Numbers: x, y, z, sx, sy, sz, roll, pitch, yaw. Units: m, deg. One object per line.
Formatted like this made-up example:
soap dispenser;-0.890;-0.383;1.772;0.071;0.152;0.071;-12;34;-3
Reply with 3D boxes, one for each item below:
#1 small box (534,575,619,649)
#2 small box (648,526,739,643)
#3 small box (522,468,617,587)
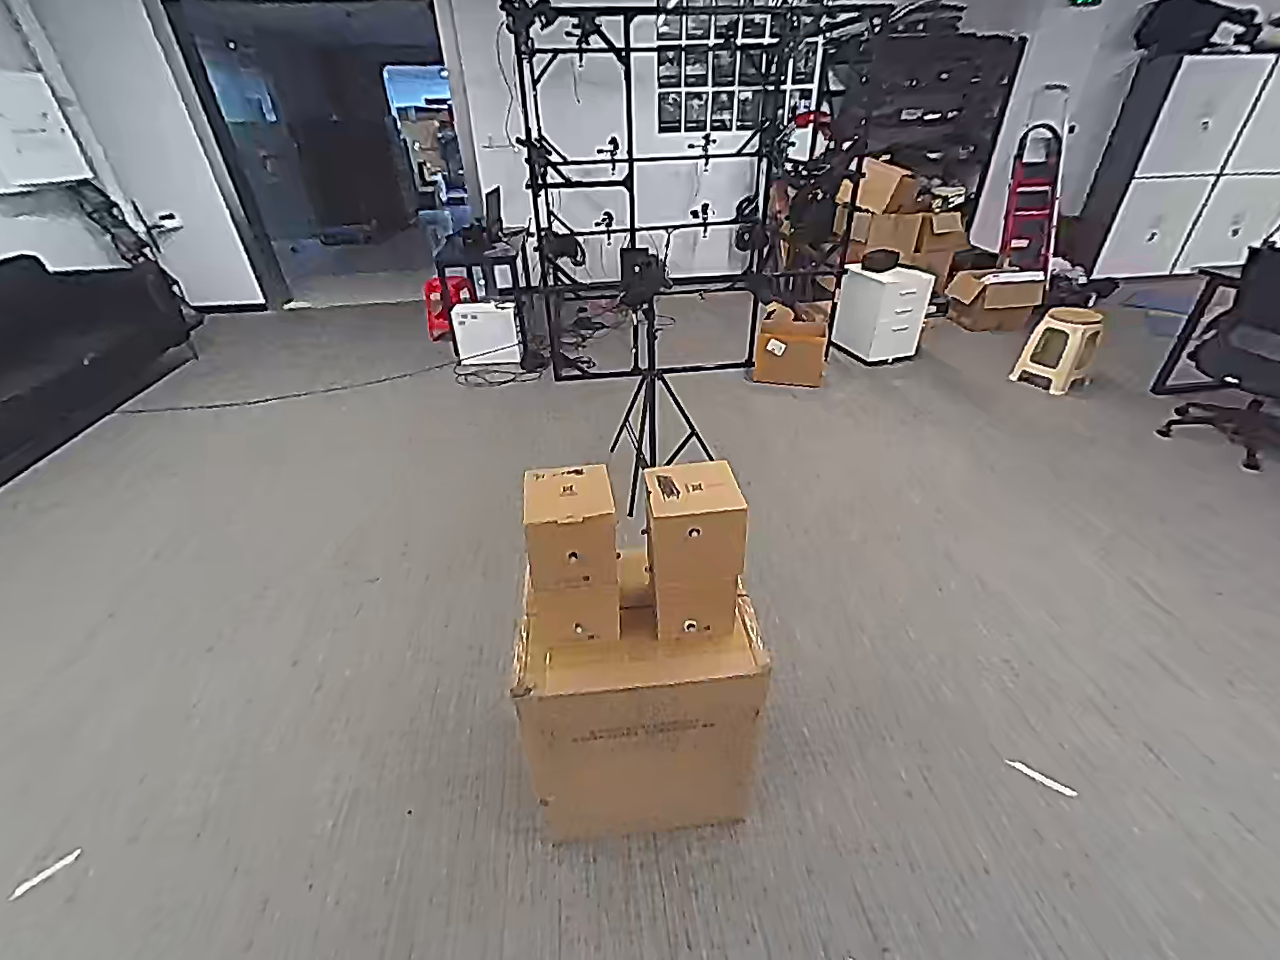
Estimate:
small box;-0.134;0.237;1.166;0.168;0.176;0.179;-5;34;-6
small box;0.109;0.225;1.175;0.168;0.176;0.179;-7;35;-3
small box;-0.138;0.098;1.077;0.168;0.176;0.179;-6;34;-7
